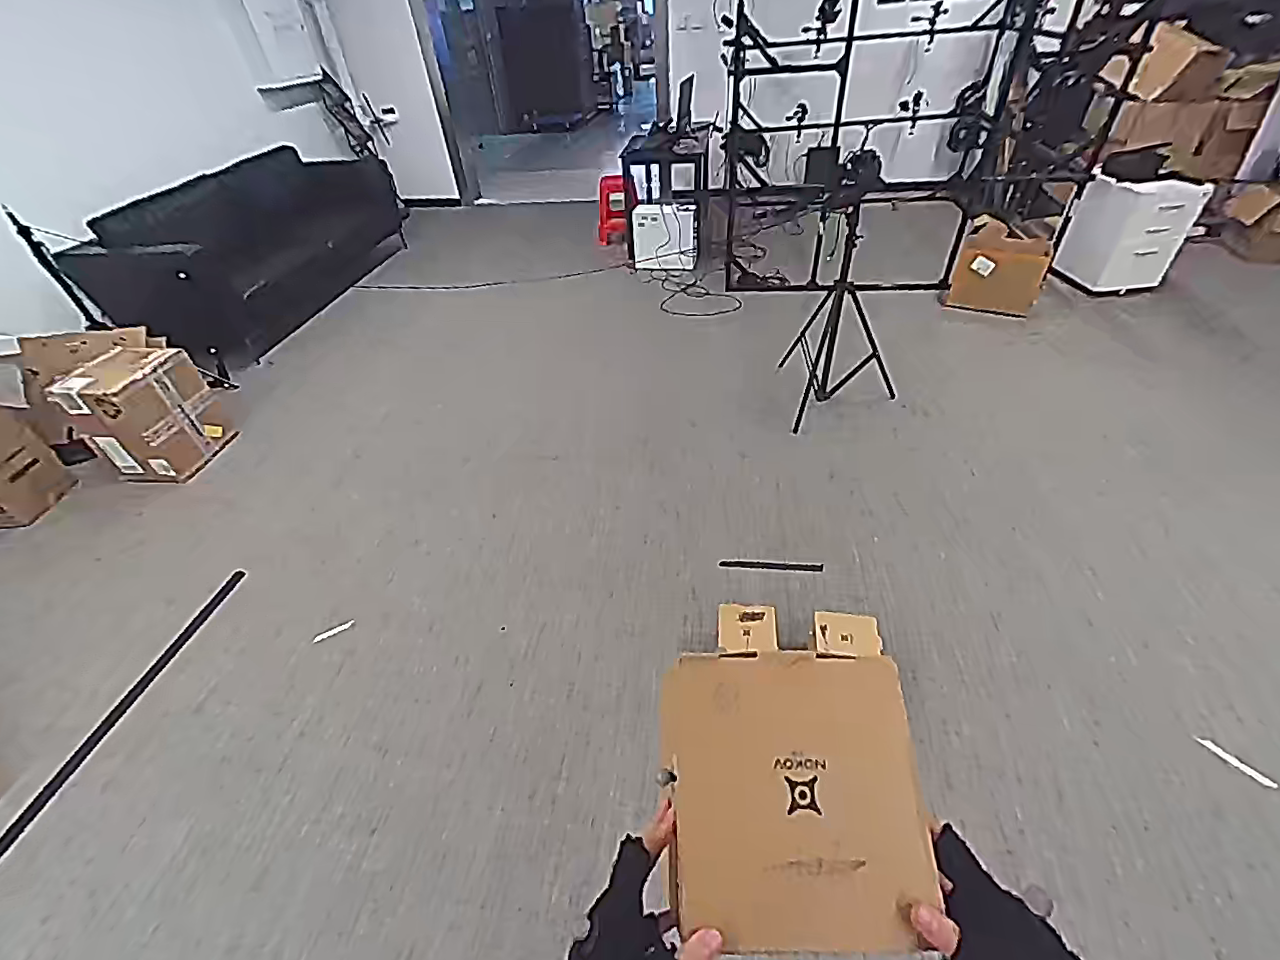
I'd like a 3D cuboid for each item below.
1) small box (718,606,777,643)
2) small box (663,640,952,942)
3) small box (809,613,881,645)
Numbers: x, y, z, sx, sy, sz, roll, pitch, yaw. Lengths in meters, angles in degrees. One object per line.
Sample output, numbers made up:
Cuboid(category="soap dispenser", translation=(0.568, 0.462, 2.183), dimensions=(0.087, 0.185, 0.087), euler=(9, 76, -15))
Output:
Cuboid(category="small box", translation=(0.316, 0.500, 1.607), dimensions=(0.168, 0.176, 0.179), euler=(2, 42, 8))
Cuboid(category="small box", translation=(0.107, 0.233, 0.434), dimensions=(0.168, 0.176, 0.179), euler=(2, 65, -2))
Cuboid(category="small box", translation=(0.589, 0.513, 1.567), dimensions=(0.179, 0.176, 0.168), euler=(5, 43, 10))
